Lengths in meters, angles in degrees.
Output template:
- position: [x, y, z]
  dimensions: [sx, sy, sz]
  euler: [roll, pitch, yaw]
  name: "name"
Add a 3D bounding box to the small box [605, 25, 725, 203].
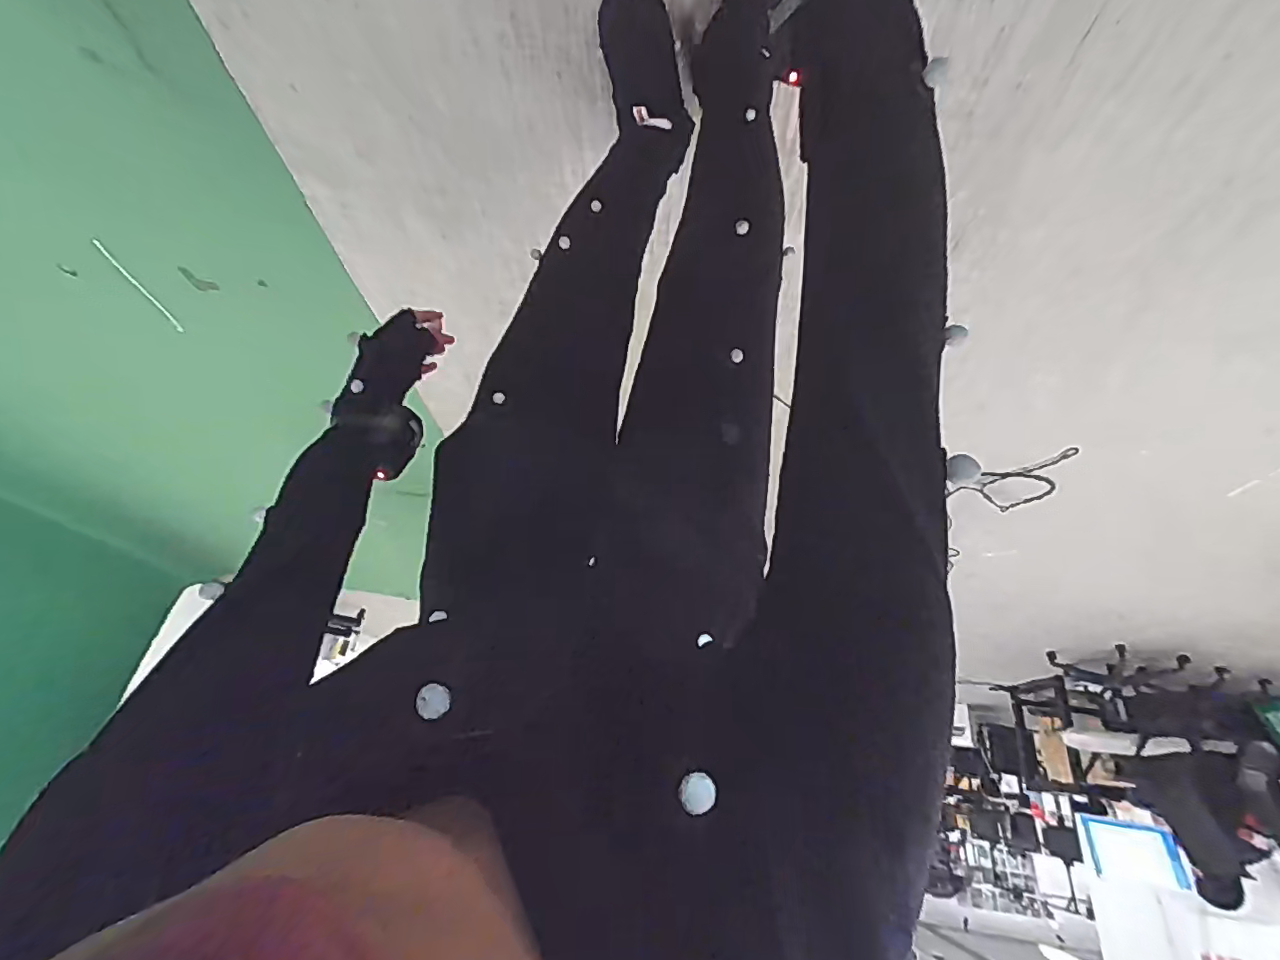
- position: [0.036, -0.581, 0.865]
  dimensions: [0.168, 0.176, 0.179]
  euler: [-6, 149, 0]
  name: "small box"
